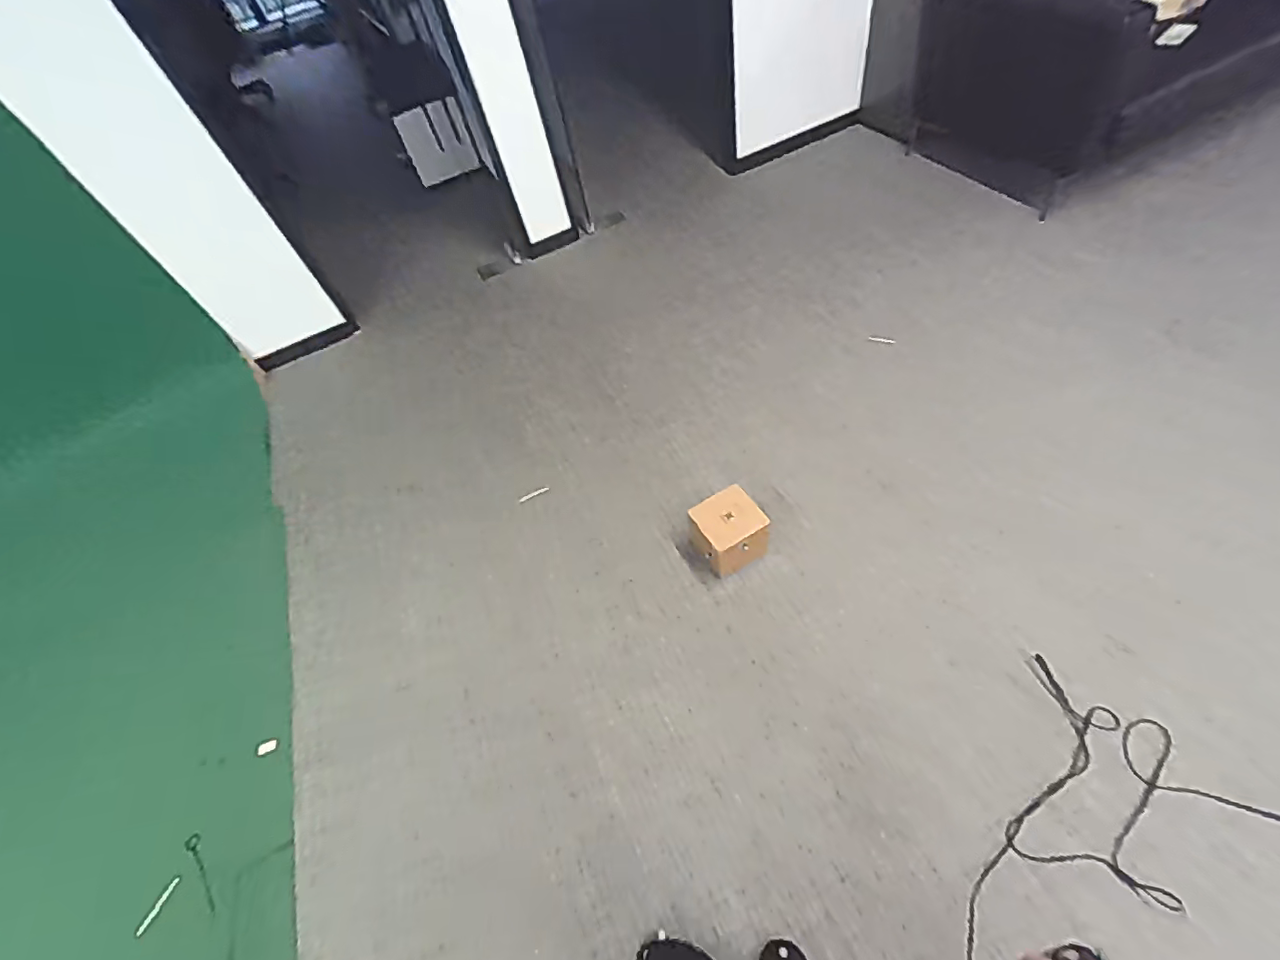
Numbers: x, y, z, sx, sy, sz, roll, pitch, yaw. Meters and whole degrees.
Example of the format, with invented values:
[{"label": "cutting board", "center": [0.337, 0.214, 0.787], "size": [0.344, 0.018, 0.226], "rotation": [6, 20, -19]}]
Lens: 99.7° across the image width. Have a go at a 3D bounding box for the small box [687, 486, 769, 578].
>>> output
[{"label": "small box", "center": [0.260, 0.157, 1.582], "size": [0.179, 0.176, 0.168], "rotation": [-29, 54, -10]}]
